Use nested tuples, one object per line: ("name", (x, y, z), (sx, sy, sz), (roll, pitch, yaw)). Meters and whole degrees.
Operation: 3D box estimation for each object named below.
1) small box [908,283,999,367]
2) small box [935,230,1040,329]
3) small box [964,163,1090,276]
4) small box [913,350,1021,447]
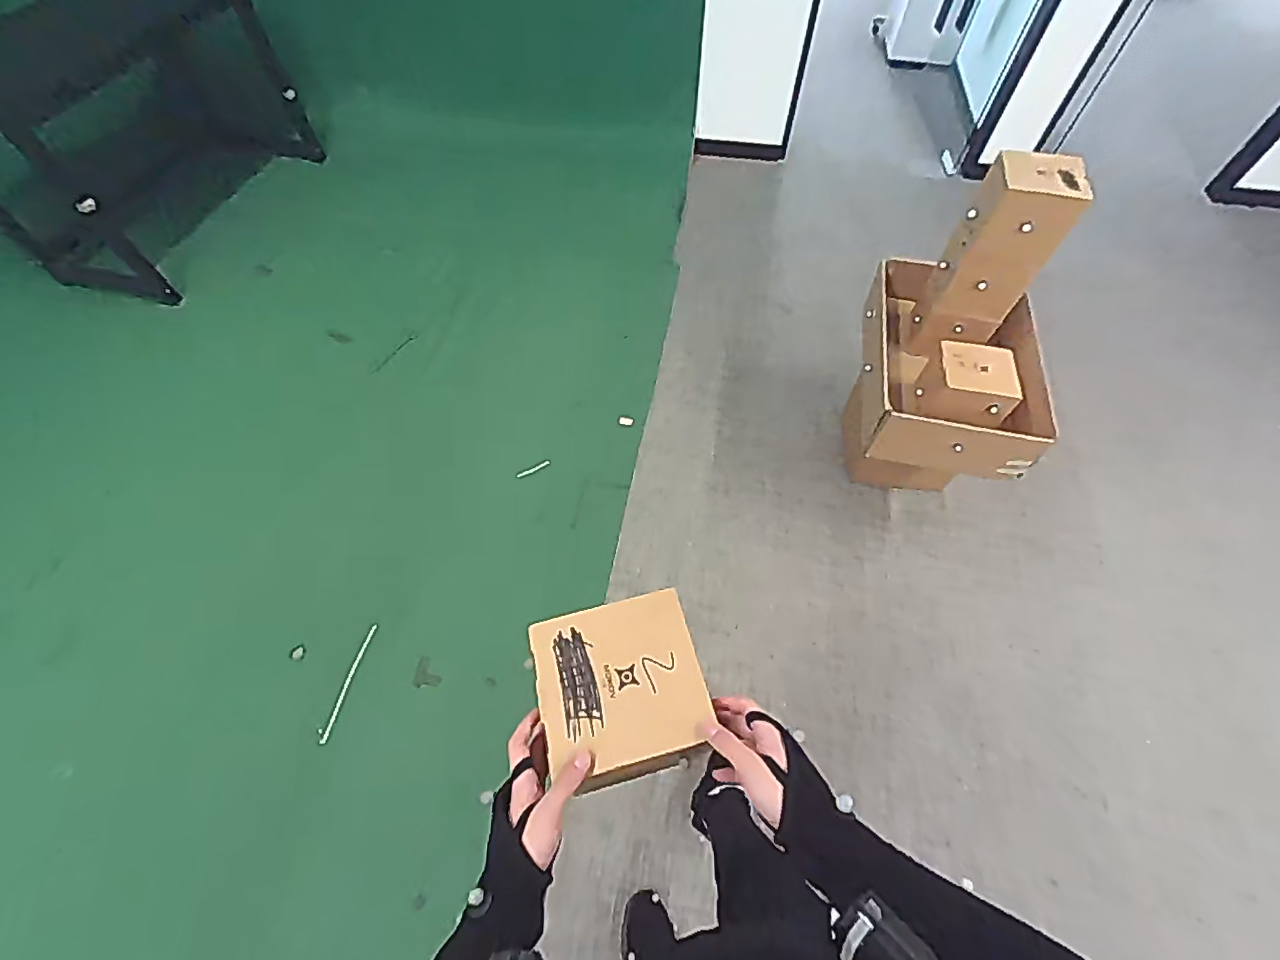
("small box", (0.886, -0.430, 1.545), (0.179, 0.176, 0.168), (14, 59, 7))
("small box", (0.891, -0.519, 1.408), (0.179, 0.176, 0.168), (12, 60, 8))
("small box", (0.894, -0.606, 1.267), (0.179, 0.176, 0.168), (12, 59, 7))
("small box", (0.835, -0.205, 1.397), (0.179, 0.176, 0.168), (10, 57, 6))
